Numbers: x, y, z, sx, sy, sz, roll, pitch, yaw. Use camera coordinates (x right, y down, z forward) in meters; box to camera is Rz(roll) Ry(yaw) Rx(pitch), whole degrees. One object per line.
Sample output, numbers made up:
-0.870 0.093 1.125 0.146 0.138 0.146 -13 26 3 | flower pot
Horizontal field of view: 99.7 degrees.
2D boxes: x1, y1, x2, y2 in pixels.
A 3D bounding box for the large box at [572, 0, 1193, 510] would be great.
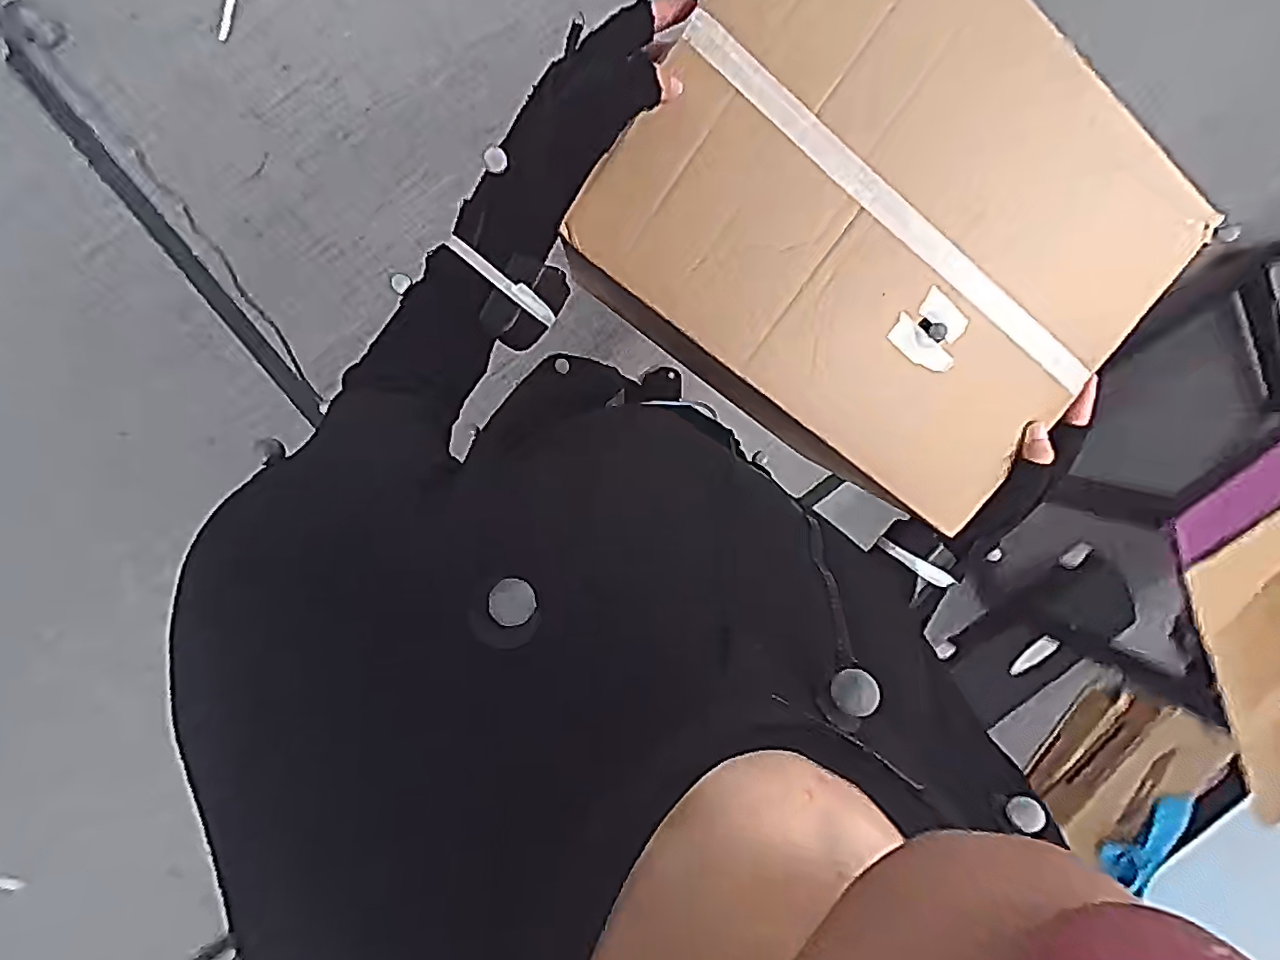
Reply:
0.177 -0.236 0.549 0.408 0.320 0.320 34 100 -14 | large box
